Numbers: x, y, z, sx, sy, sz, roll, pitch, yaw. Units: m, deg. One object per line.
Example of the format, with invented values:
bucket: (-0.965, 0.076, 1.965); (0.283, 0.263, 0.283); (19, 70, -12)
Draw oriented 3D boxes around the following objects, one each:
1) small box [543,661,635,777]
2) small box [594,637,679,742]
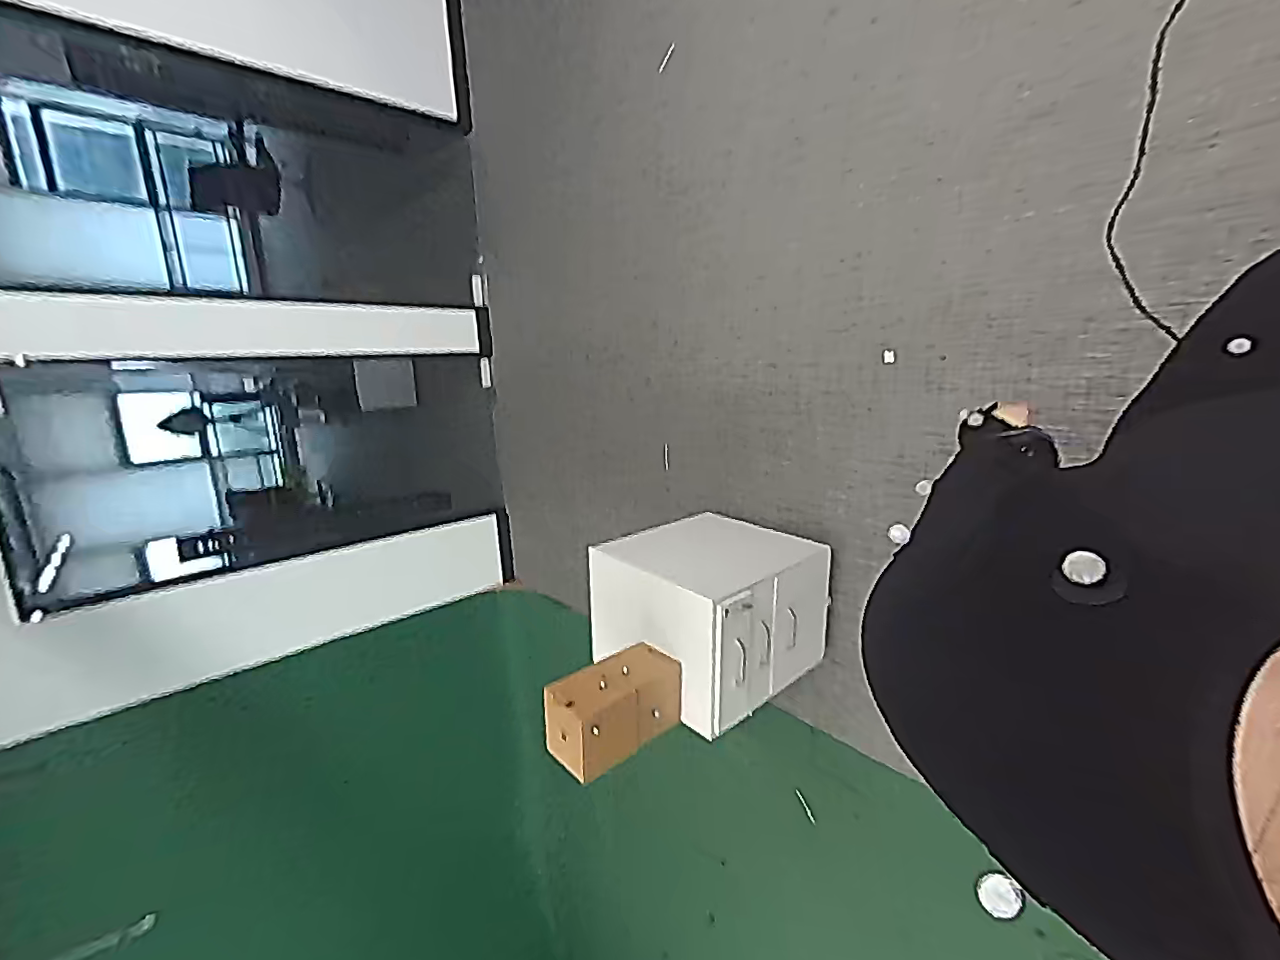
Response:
small box: (-0.125, 0.585, 1.347); (0.168, 0.176, 0.179); (13, 108, 47)
small box: (-0.007, 0.555, 1.457); (0.168, 0.176, 0.179); (13, 109, 47)
